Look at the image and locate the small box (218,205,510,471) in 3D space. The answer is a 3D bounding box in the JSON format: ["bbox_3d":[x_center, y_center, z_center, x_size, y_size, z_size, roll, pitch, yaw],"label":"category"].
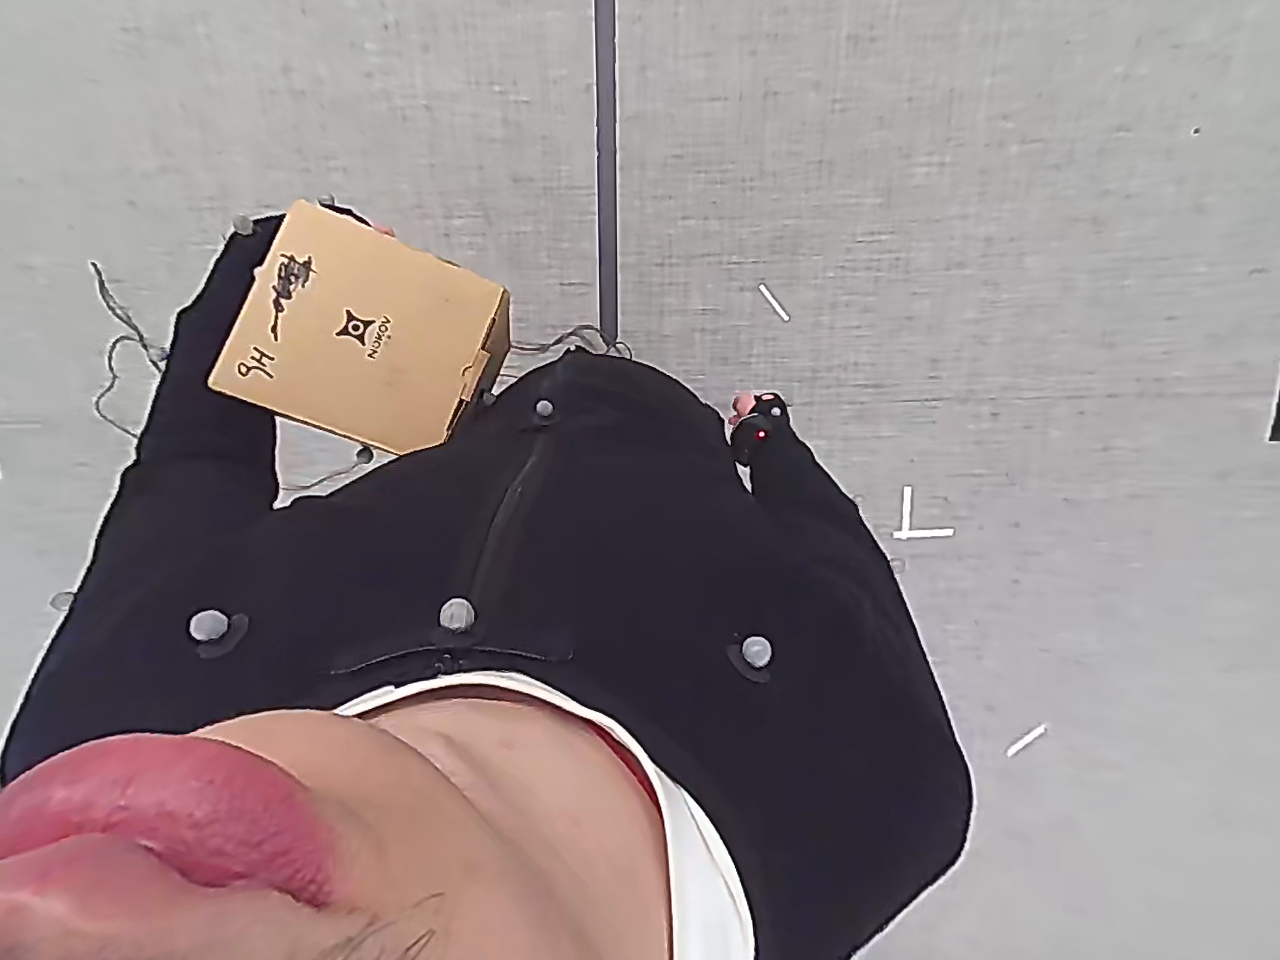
[{"bbox_3d":[-0.236,-0.112,0.516,0.179,0.176,0.168,21,82,-12],"label":"small box"}]
